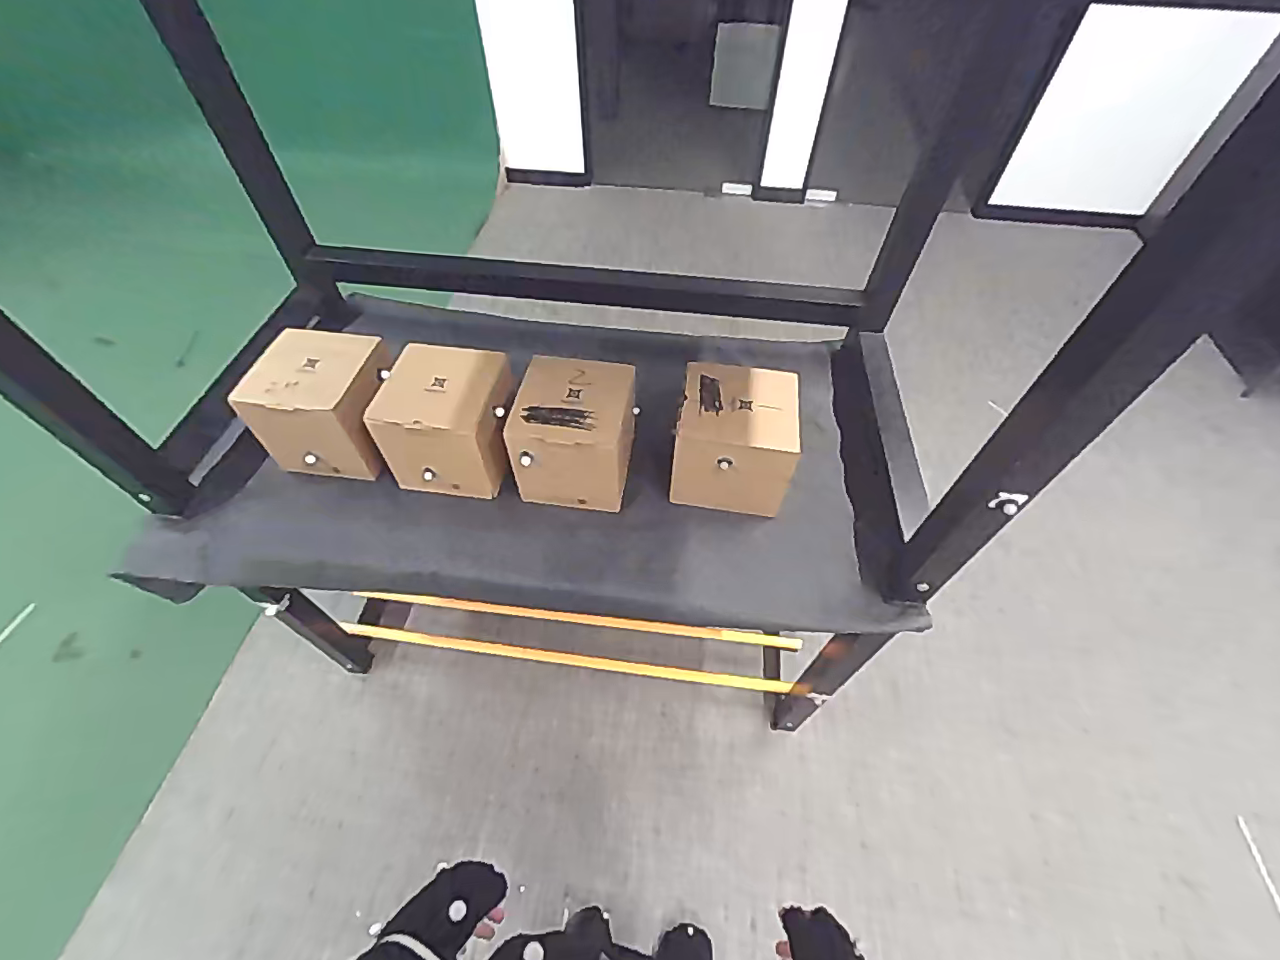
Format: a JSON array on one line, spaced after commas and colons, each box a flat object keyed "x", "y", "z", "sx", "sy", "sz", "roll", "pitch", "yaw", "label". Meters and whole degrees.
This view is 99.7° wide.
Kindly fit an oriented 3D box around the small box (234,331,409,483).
[{"x": -0.512, "y": -0.121, "z": 0.906, "sx": 0.168, "sy": 0.176, "sz": 0.179, "roll": 7, "pitch": 53, "yaw": 4, "label": "small box"}]

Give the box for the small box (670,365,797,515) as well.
[{"x": 0.146, "y": -0.060, "z": 0.873, "sx": 0.179, "sy": 0.176, "sz": 0.168, "roll": 9, "pitch": 54, "yaw": 4, "label": "small box"}]
